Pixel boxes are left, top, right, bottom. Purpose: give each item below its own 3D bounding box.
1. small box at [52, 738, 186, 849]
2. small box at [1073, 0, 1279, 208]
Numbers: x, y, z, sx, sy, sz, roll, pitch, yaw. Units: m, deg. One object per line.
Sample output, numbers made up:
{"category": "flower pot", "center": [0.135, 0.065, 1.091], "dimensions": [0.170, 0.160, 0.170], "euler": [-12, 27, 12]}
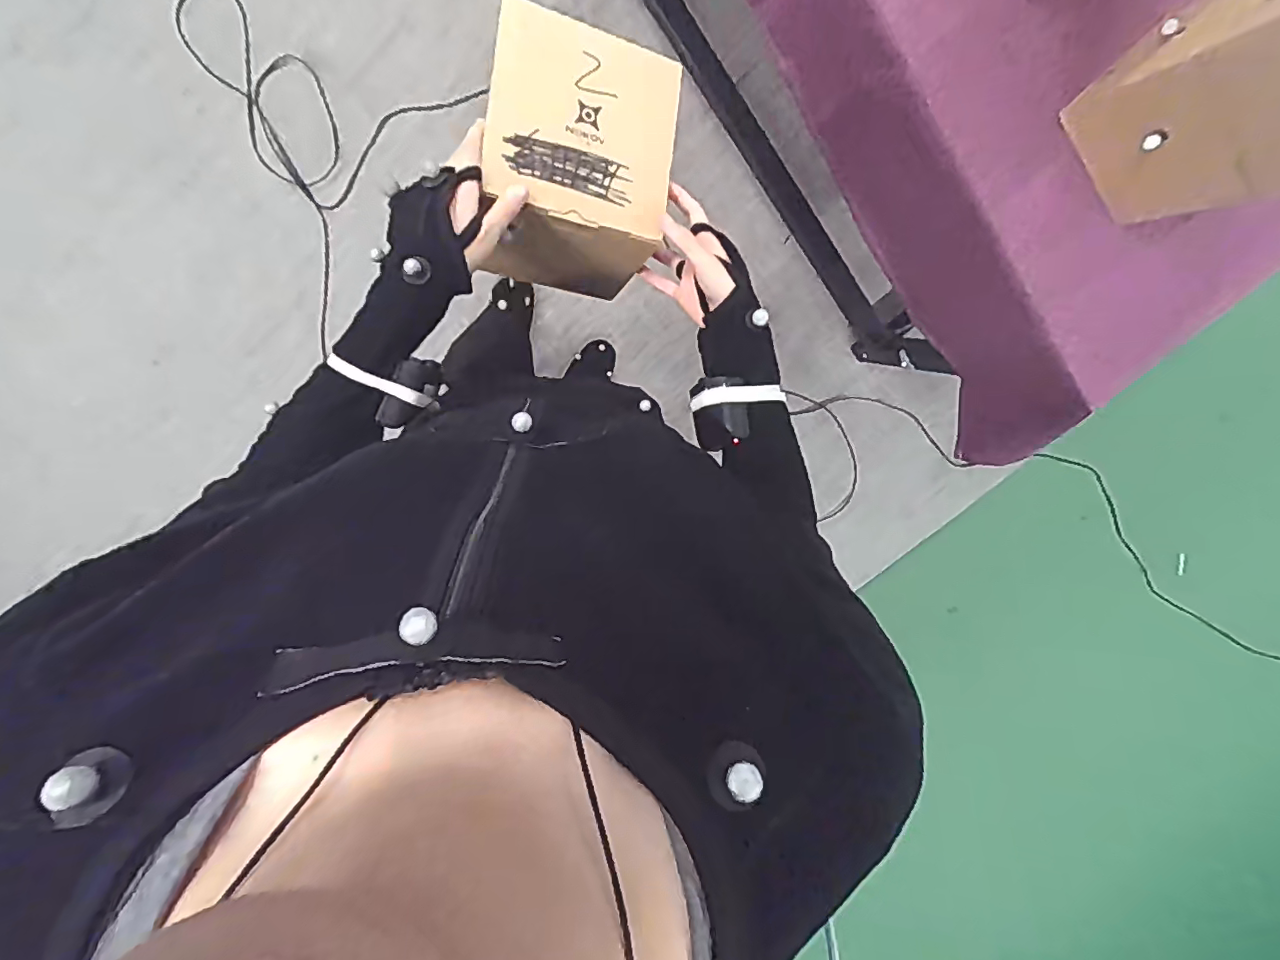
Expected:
{"category": "small box", "center": [-1.445, 0.872, 1.516], "dimensions": [0.179, 0.176, 0.168], "euler": [-38, 107, 5]}
{"category": "small box", "center": [0.653, -0.444, 0.611], "dimensions": [0.168, 0.176, 0.179], "euler": [-41, 105, 7]}
